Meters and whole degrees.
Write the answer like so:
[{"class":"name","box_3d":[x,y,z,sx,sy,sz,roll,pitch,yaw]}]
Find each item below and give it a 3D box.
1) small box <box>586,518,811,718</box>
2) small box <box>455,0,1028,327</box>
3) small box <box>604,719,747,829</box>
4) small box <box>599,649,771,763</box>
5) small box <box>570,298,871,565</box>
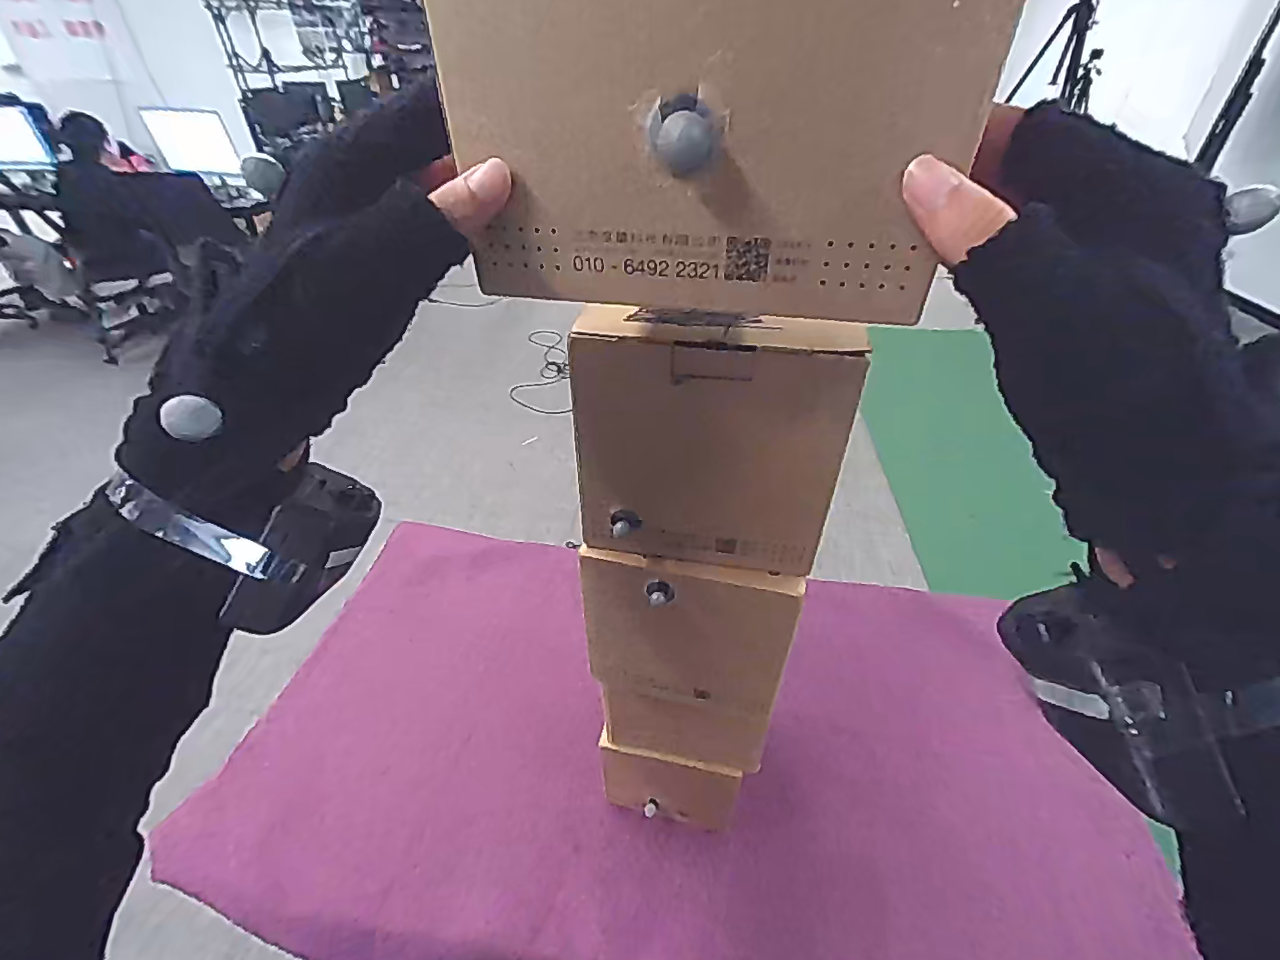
[{"class":"small box","box_3d":[0.057,0.079,0.493,0.168,0.176,0.179,8,38,11]},{"class":"small box","box_3d":[0.035,-0.178,0.211,0.168,0.176,0.179,7,41,10]},{"class":"small box","box_3d":[0.056,0.319,0.713,0.168,0.176,0.179,7,40,11]},{"class":"small box","box_3d":[0.062,0.193,0.613,0.179,0.176,0.168,7,39,9]},{"class":"small box","box_3d":[0.056,-0.059,0.402,0.168,0.176,0.179,7,38,8]}]
